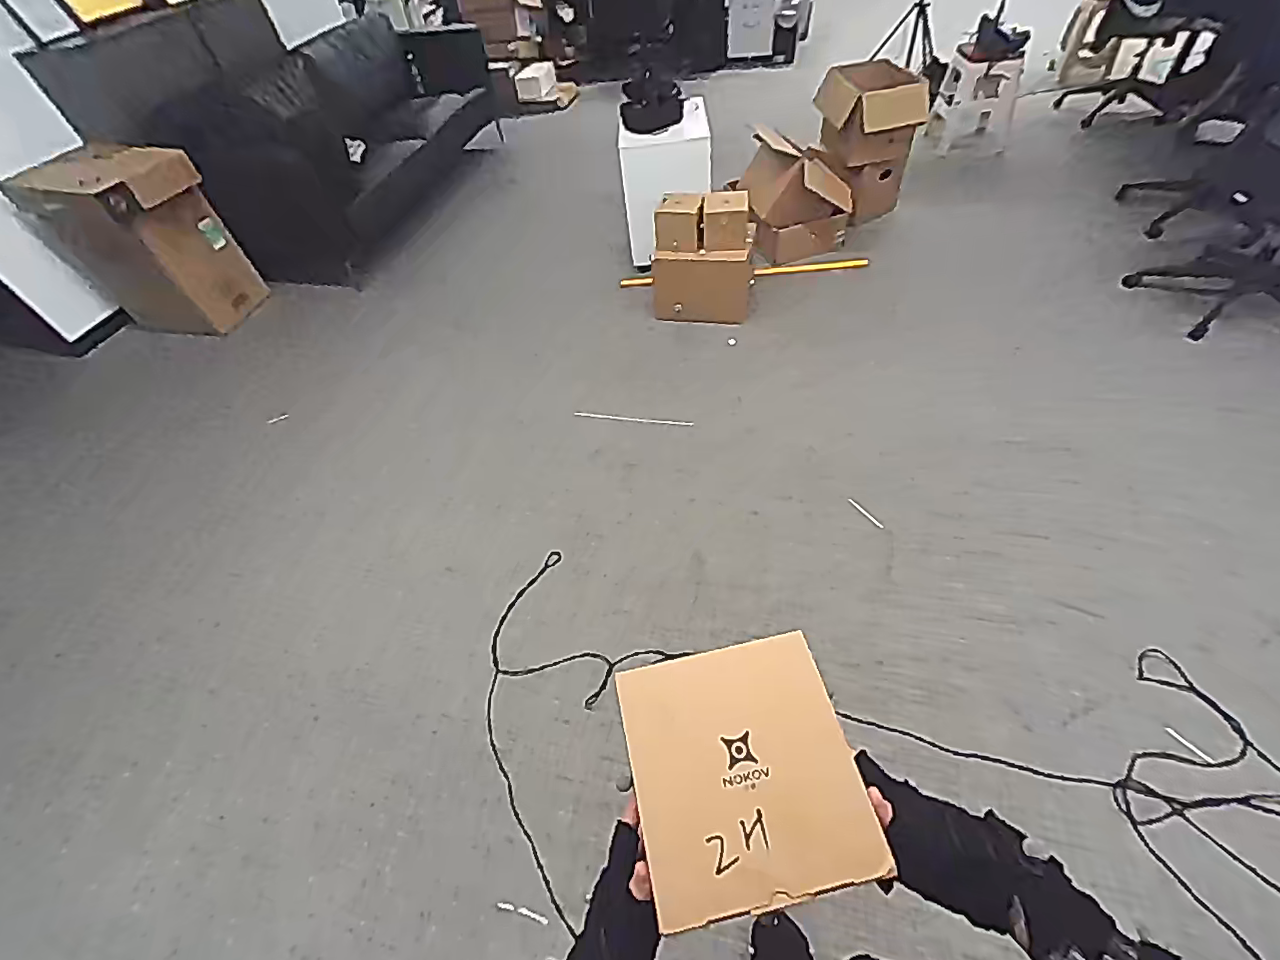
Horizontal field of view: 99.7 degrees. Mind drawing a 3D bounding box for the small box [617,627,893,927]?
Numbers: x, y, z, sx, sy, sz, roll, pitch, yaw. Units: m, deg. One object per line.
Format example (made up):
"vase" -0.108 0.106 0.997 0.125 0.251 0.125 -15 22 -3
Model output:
"small box" 0.078 0.253 0.467 0.168 0.176 0.179 -11 55 -4
